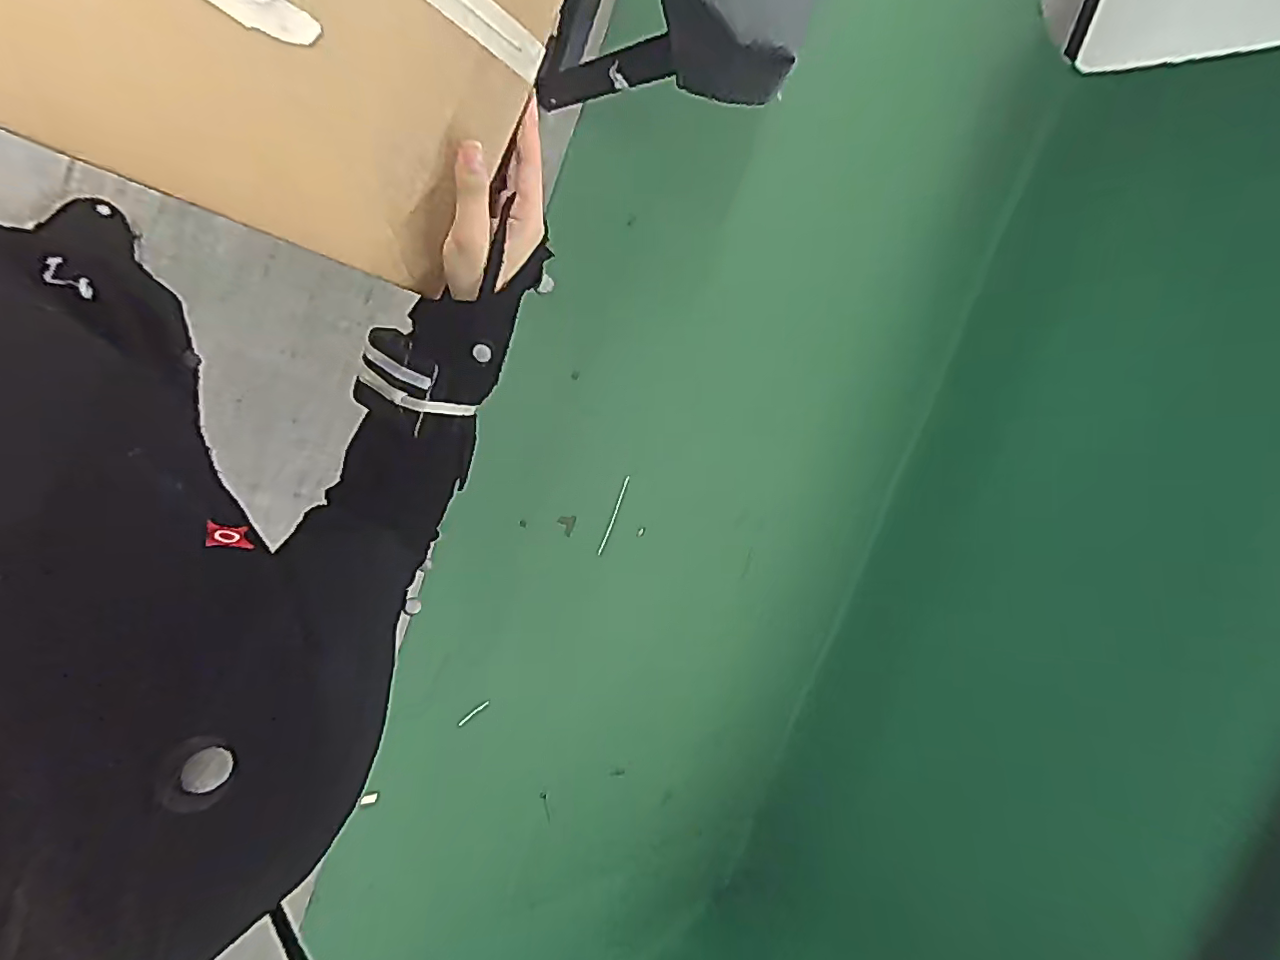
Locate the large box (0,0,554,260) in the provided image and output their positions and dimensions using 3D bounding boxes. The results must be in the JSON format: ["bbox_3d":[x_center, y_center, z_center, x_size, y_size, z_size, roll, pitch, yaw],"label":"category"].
[{"bbox_3d":[-0.280,-0.382,0.274,0.408,0.320,0.320,9,121,-48],"label":"large box"}]
